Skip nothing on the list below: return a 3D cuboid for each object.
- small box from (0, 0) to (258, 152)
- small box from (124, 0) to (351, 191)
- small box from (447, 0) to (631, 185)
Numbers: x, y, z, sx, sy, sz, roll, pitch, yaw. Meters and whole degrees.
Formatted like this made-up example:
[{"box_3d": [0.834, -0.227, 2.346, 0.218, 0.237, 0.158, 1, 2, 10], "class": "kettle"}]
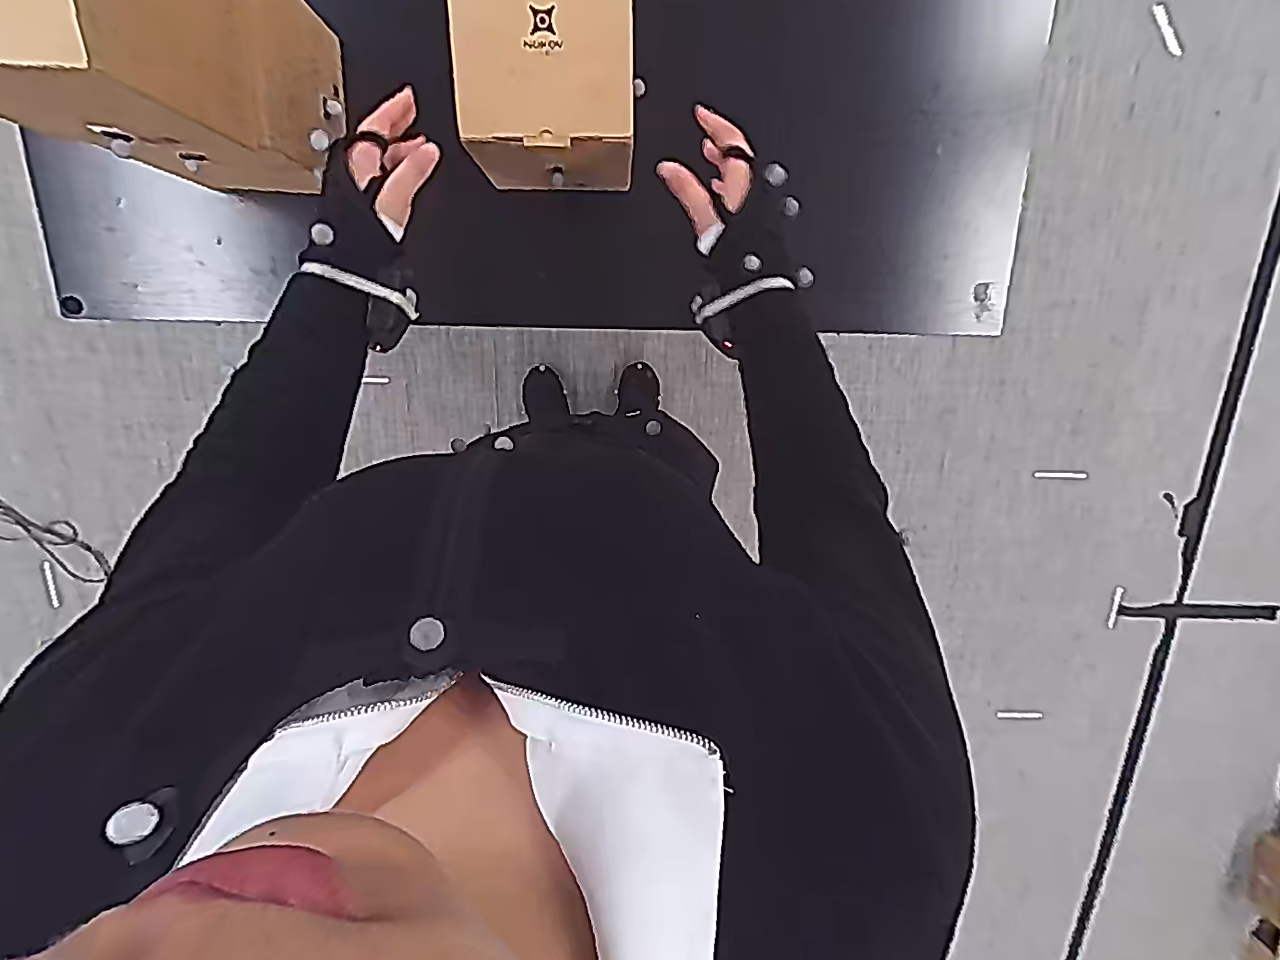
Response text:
[{"box_3d": [-0.425, -0.370, 0.398, 0.168, 0.176, 0.179, 1, 105, -1], "class": "small box"}, {"box_3d": [-0.429, -0.411, 0.555, 0.179, 0.176, 0.168, 2, 104, -4], "class": "small box"}, {"box_3d": [-0.093, -0.425, 0.567, 0.168, 0.176, 0.179, -1, 104, -2], "class": "small box"}]
